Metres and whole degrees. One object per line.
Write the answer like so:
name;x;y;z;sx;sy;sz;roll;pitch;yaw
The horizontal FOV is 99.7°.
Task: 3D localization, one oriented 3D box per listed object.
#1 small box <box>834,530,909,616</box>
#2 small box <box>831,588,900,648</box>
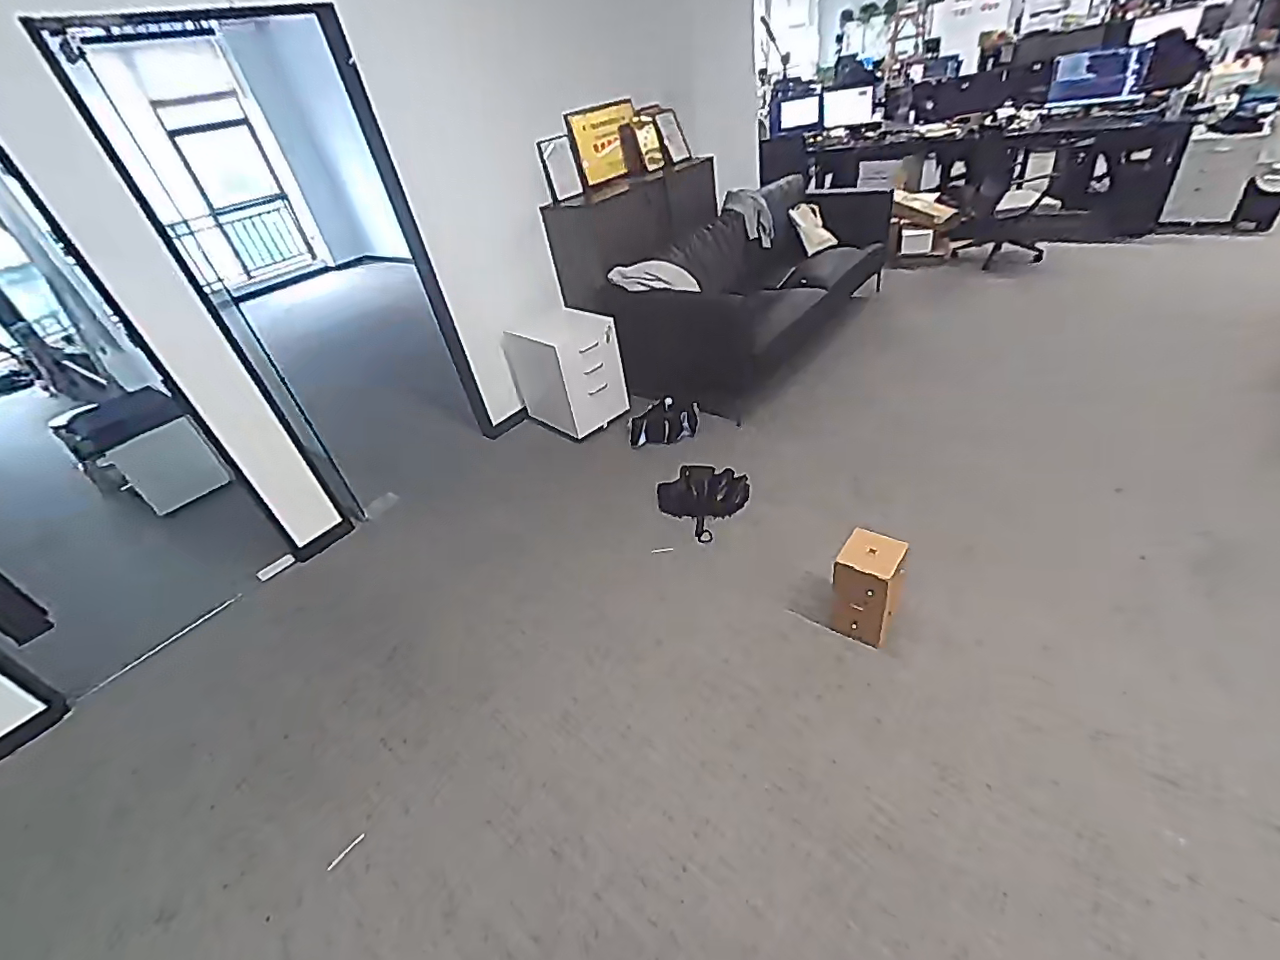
small box;0.723;0.292;1.698;0.168;0.176;0.179;20;44;34
small box;0.747;0.423;1.792;0.168;0.176;0.179;18;45;34
